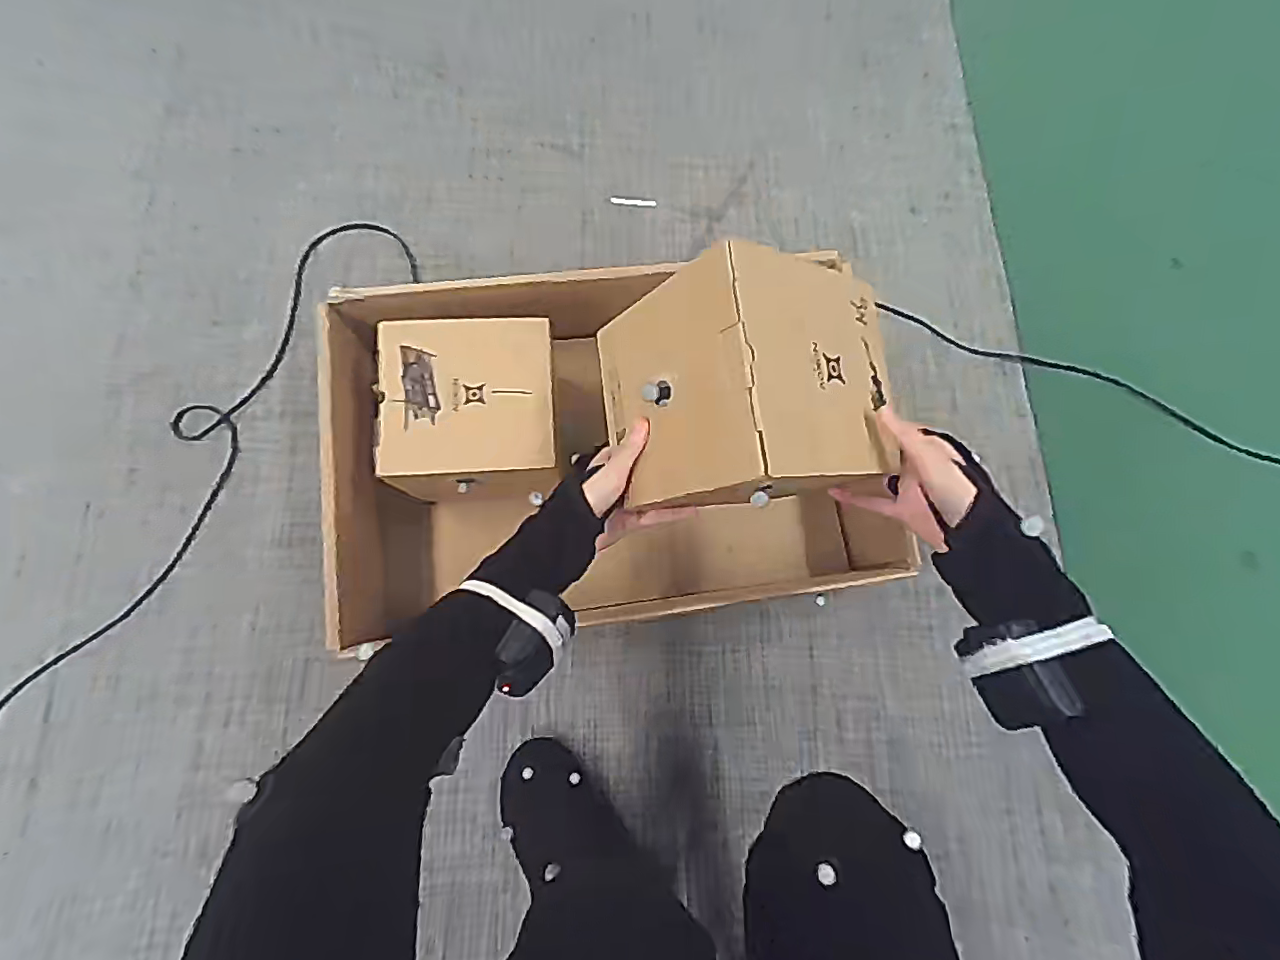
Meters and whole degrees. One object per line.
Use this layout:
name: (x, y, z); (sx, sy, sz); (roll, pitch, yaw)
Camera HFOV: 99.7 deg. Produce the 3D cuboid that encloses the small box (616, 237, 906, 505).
small box: (0.091, -0.072, 0.467); (0.179, 0.176, 0.168); (0, 79, -36)
